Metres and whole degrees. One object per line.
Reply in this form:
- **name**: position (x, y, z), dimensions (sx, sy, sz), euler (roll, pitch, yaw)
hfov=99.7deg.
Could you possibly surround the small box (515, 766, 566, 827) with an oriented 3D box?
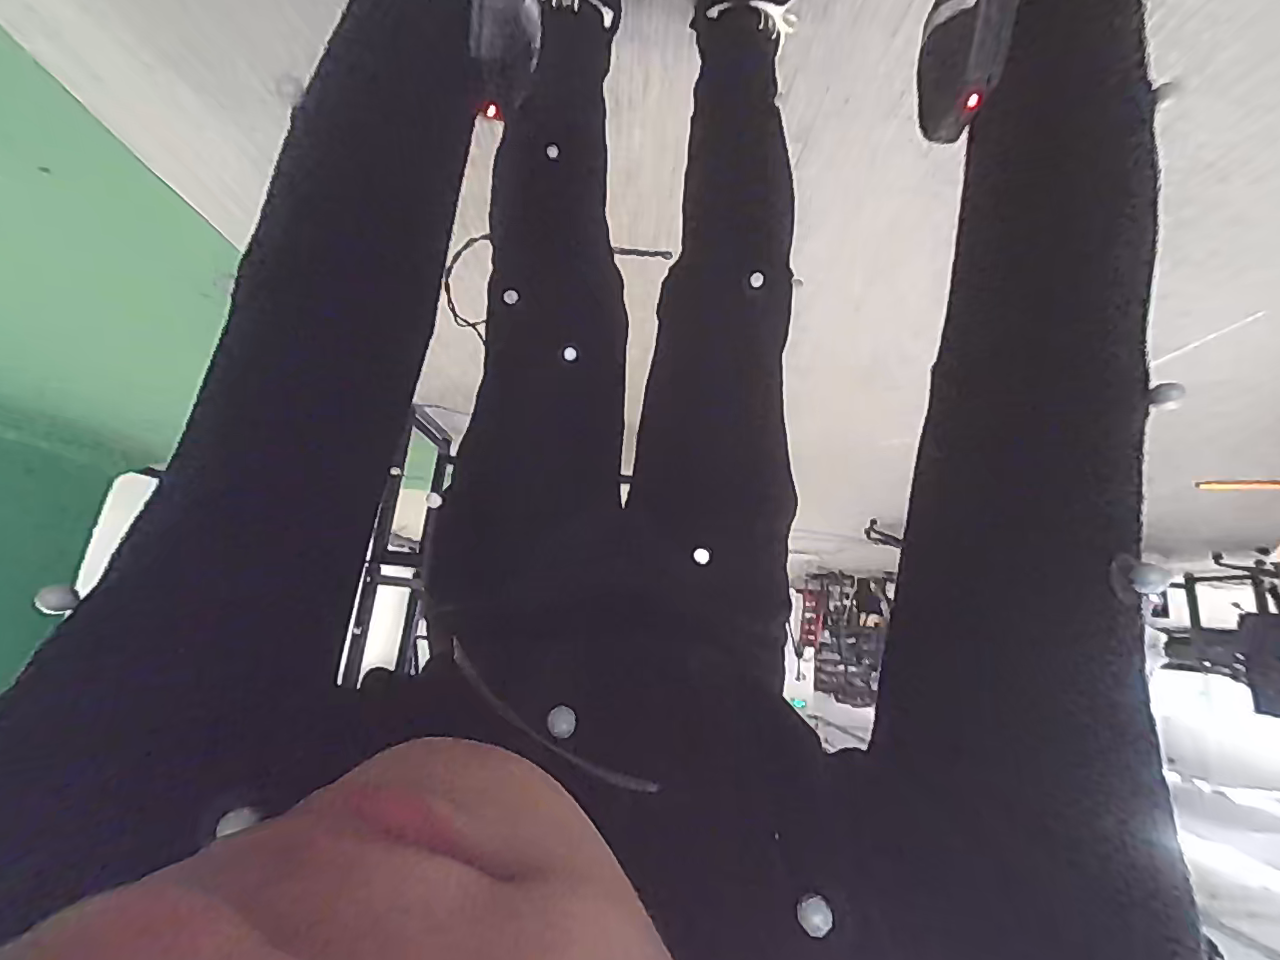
- **small box**: position (-0.398, 1.279, 2.196), dimensions (0.179, 0.176, 0.168), euler (7, 166, -2)
